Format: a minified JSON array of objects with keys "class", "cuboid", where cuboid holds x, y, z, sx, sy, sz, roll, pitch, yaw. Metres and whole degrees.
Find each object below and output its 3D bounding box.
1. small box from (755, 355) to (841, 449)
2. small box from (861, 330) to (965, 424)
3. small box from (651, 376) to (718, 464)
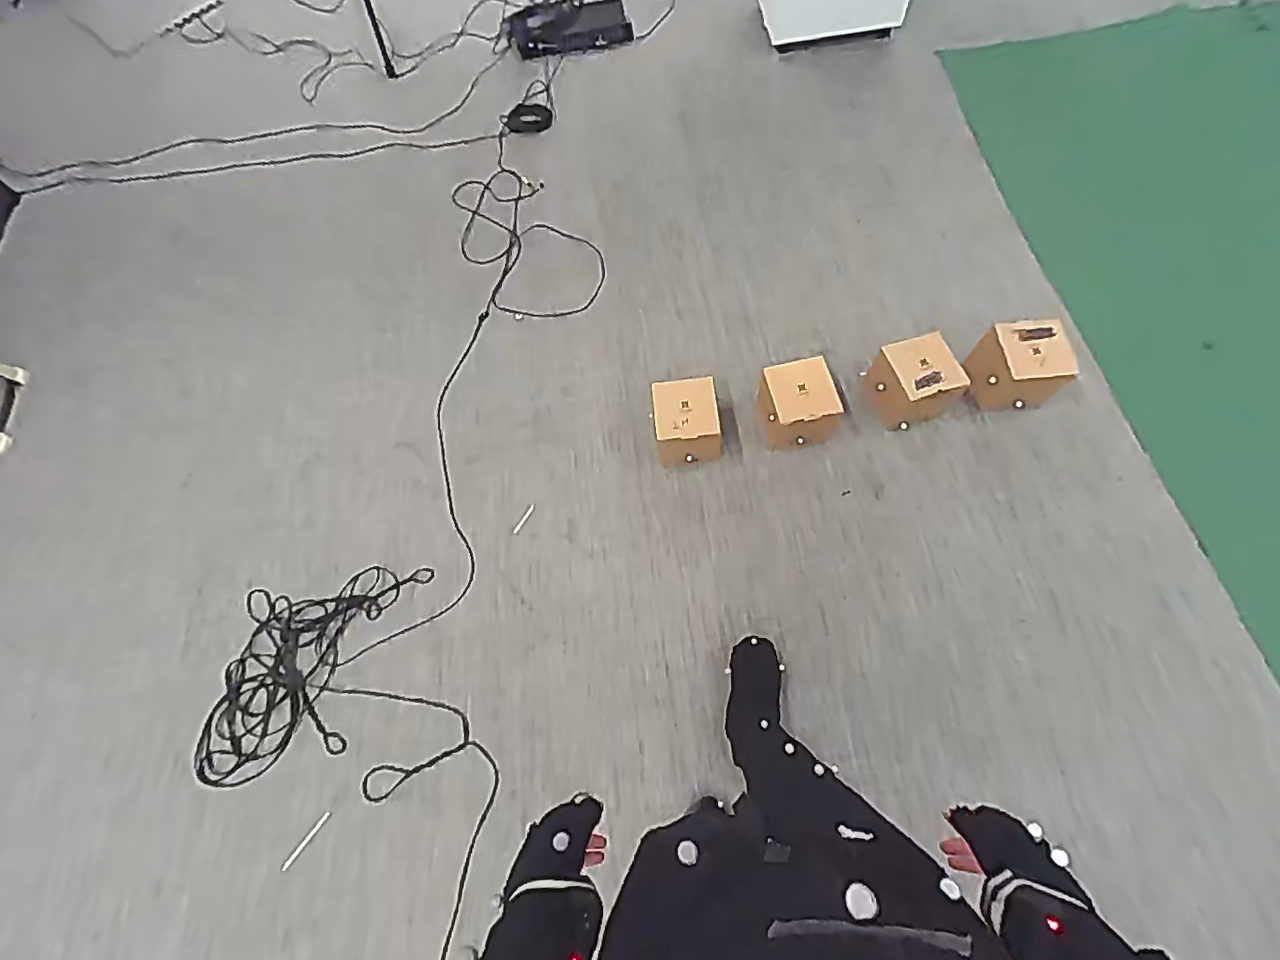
[{"class":"small box","cuboid":[0.422,-0.209,1.476,0.168,0.176,0.179,-12,68,1]},{"class":"small box","cuboid":[0.734,-0.270,1.473,0.168,0.176,0.179,-16,66,-2]},{"class":"small box","cuboid":[0.120,-0.161,1.484,0.168,0.176,0.179,-6,67,4]}]
